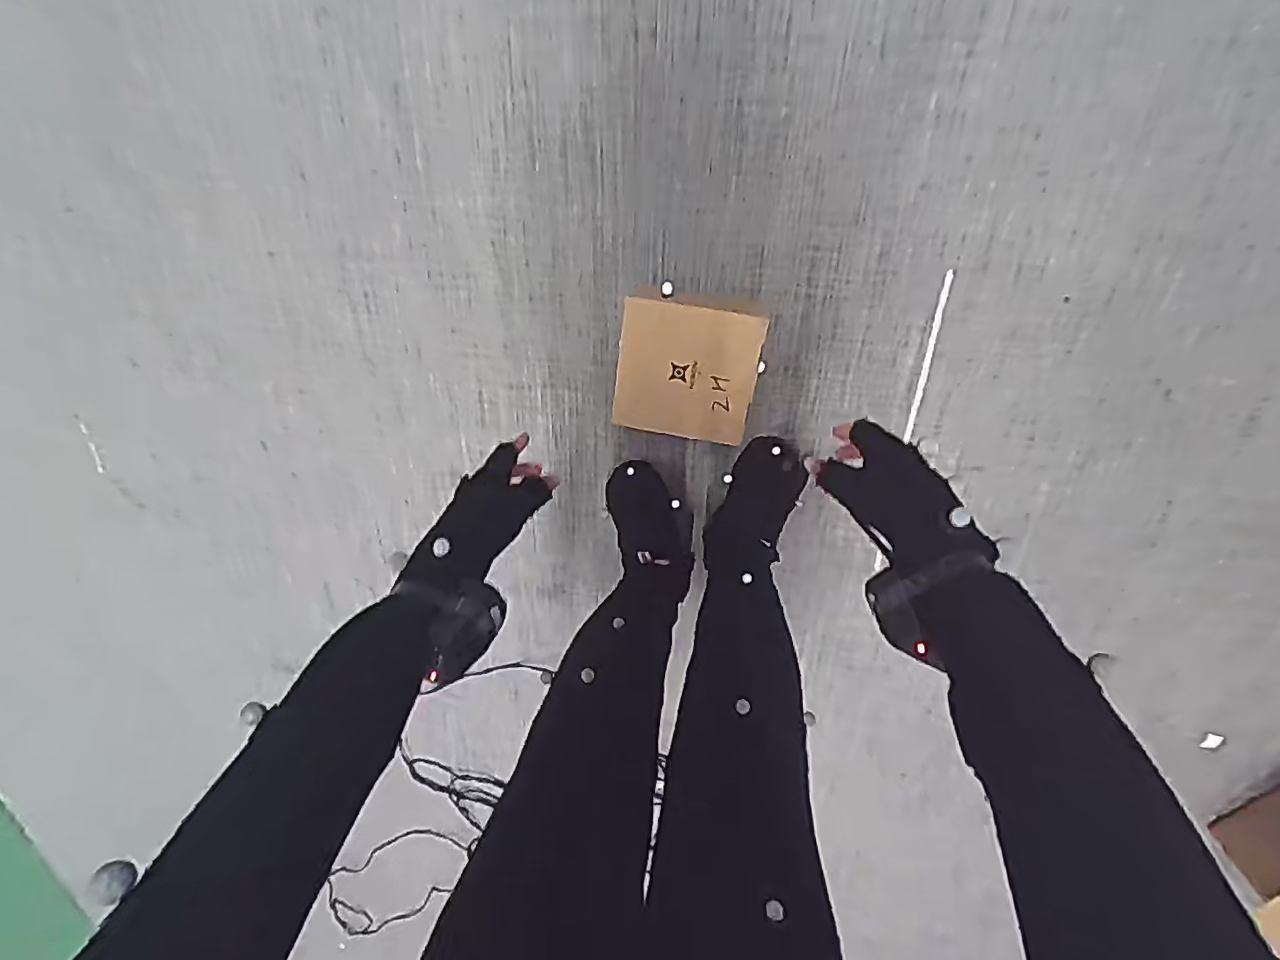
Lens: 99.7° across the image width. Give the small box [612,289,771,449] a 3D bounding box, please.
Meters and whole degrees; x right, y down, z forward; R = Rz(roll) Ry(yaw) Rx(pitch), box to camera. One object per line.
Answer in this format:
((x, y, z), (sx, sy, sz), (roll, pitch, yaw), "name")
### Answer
((0.072, -0.161, 0.742), (0.179, 0.176, 0.168), (11, 116, 5), "small box")
